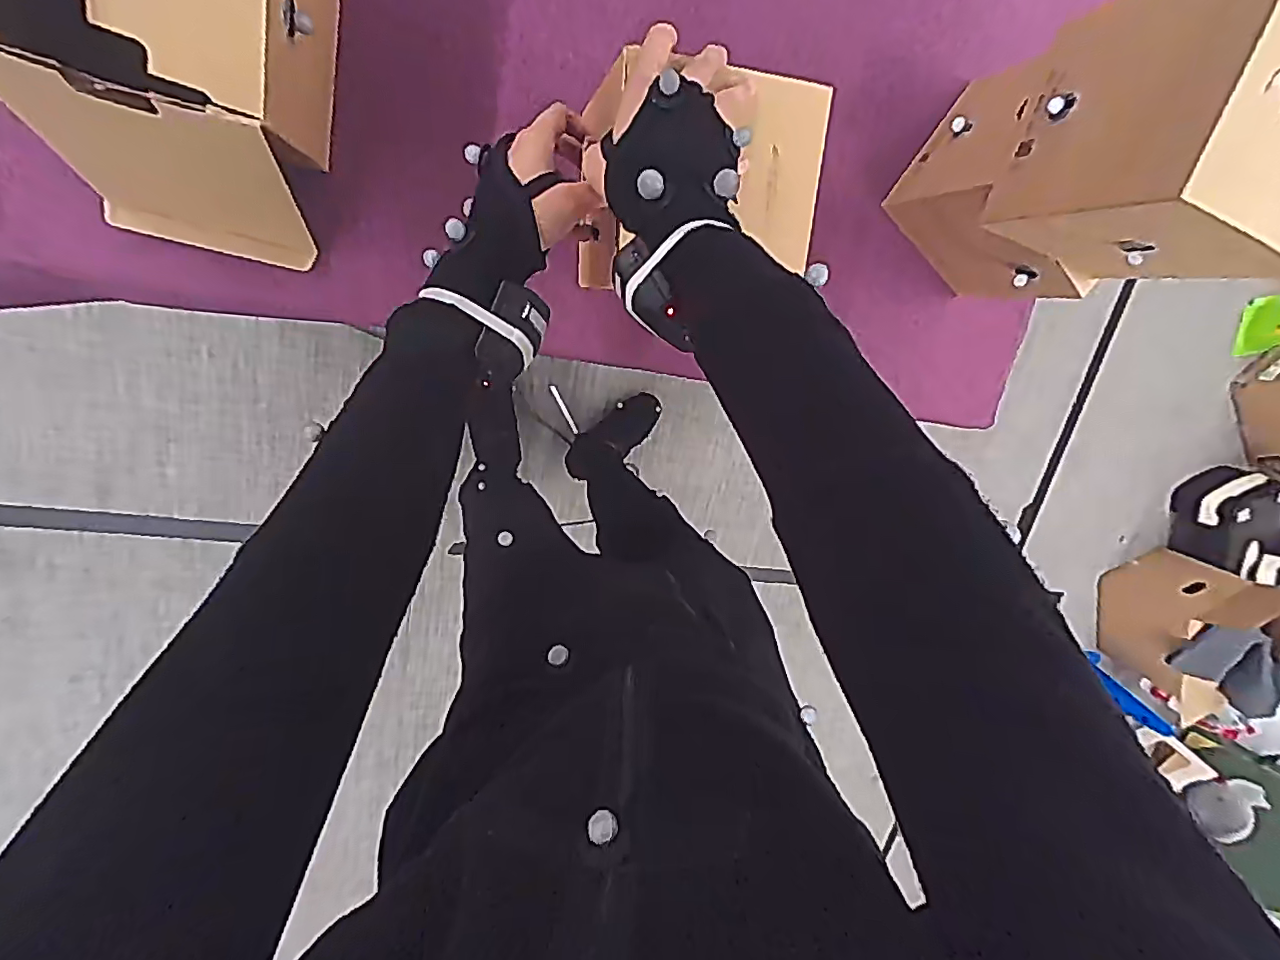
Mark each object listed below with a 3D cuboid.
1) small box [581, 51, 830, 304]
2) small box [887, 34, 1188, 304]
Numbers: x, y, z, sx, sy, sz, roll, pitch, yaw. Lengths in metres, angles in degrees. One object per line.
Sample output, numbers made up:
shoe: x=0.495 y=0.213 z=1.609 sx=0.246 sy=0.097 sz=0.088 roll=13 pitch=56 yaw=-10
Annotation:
small box: x=0.043 y=-0.260 z=0.510 sx=0.179 sy=0.176 sz=0.168 roll=-1 pitch=110 yaw=-16
small box: x=0.420 y=-0.318 z=0.594 sx=0.179 sy=0.176 sz=0.168 roll=33 pitch=97 yaw=-23
